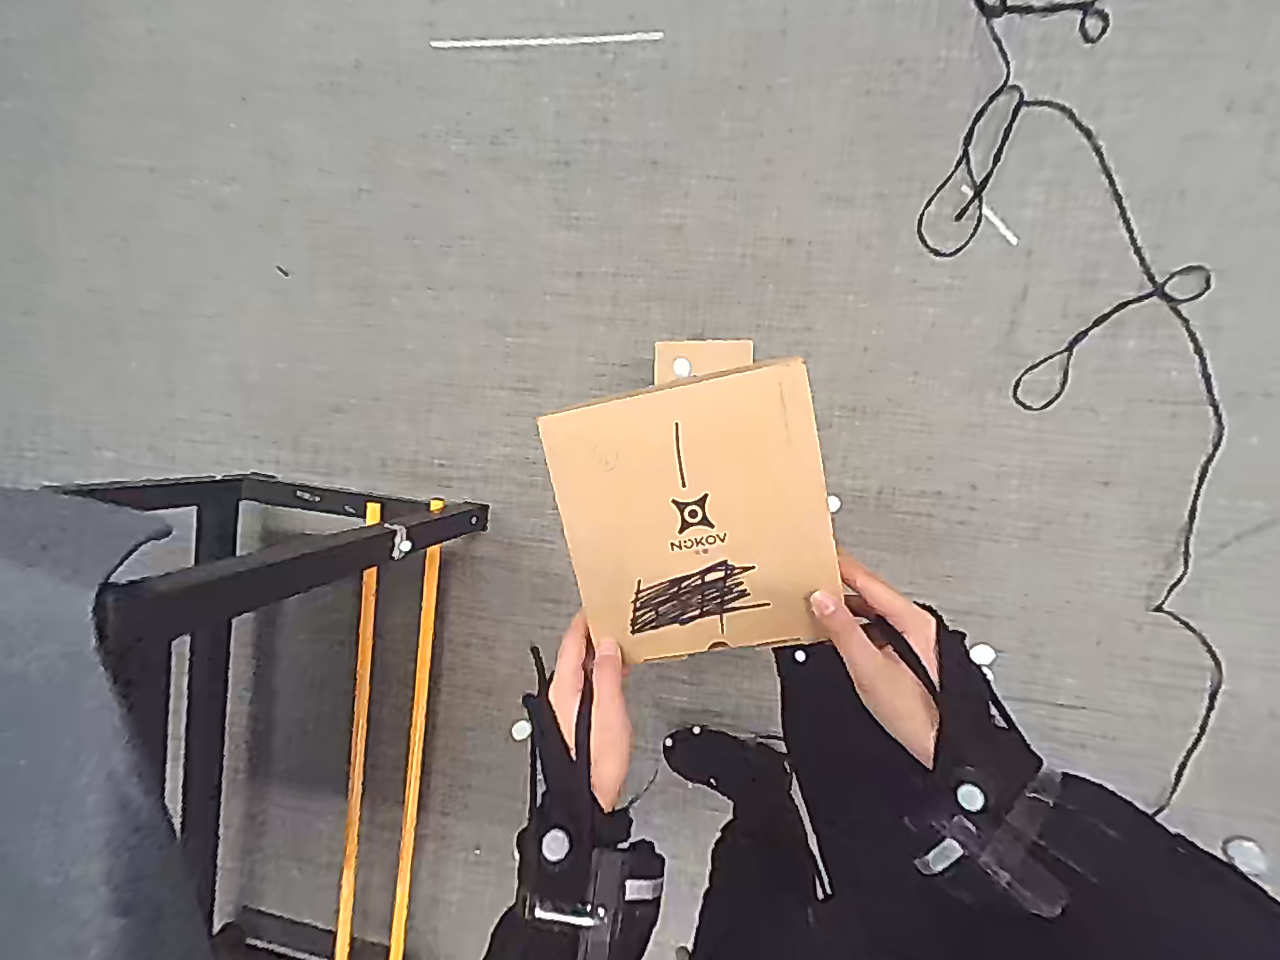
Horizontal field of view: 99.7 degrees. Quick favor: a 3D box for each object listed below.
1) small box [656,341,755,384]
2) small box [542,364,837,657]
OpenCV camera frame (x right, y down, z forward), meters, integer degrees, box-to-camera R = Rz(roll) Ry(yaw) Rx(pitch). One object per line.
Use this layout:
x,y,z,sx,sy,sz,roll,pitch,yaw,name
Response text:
0.120,-0.148,0.985,0.168,0.176,0.179,2,94,10,small box
0.044,0.010,0.420,0.168,0.176,0.179,-10,99,10,small box
